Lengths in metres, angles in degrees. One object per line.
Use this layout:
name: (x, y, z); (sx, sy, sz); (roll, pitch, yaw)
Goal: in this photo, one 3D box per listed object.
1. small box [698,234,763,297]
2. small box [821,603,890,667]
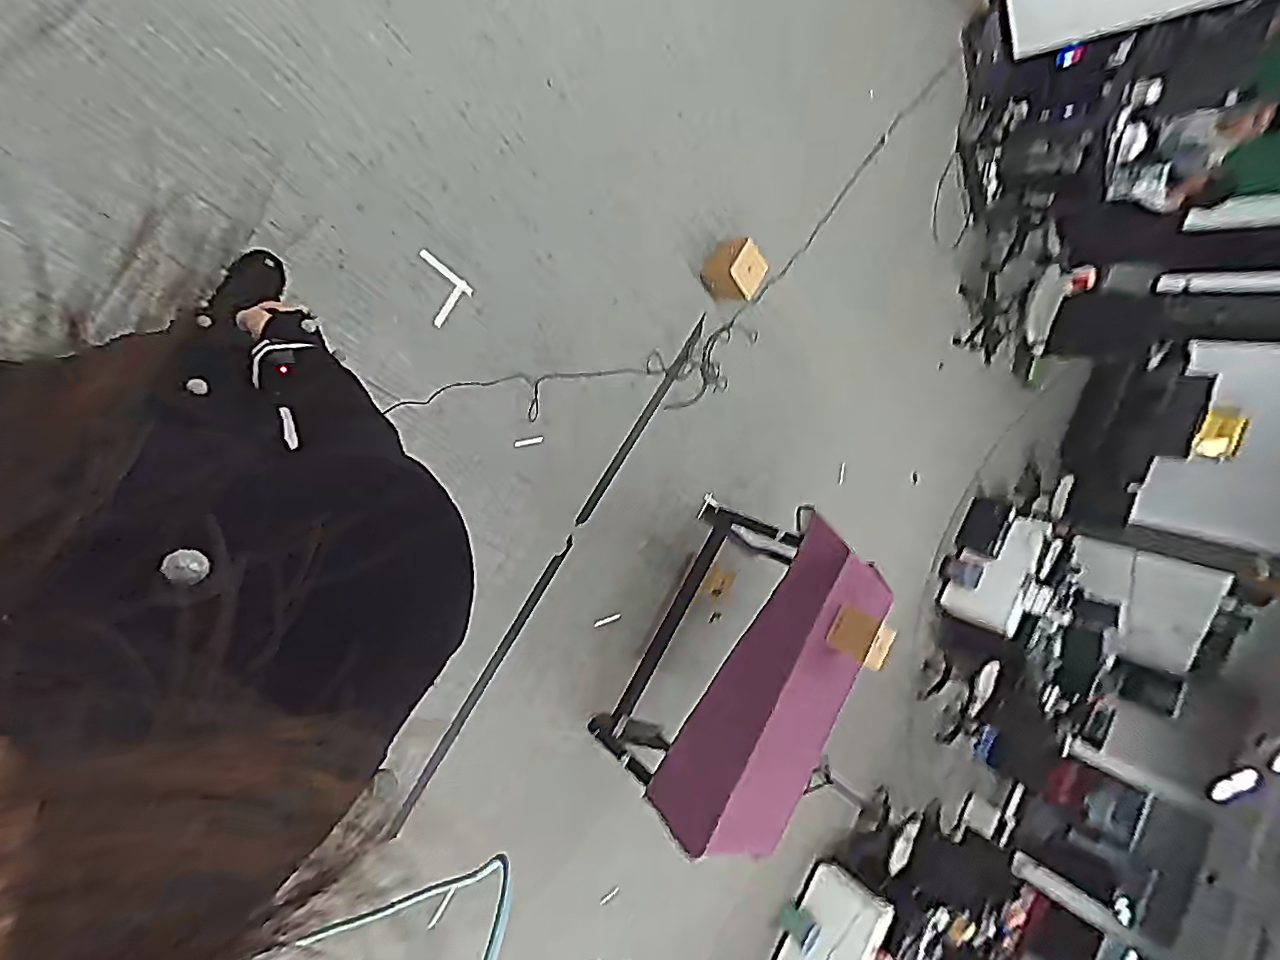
small box: (0.365, -0.866, 2.195); (0.168, 0.176, 0.179); (40, 77, -42)
small box: (0.839, 0.600, 2.109); (0.179, 0.176, 0.168); (36, 79, -43)
